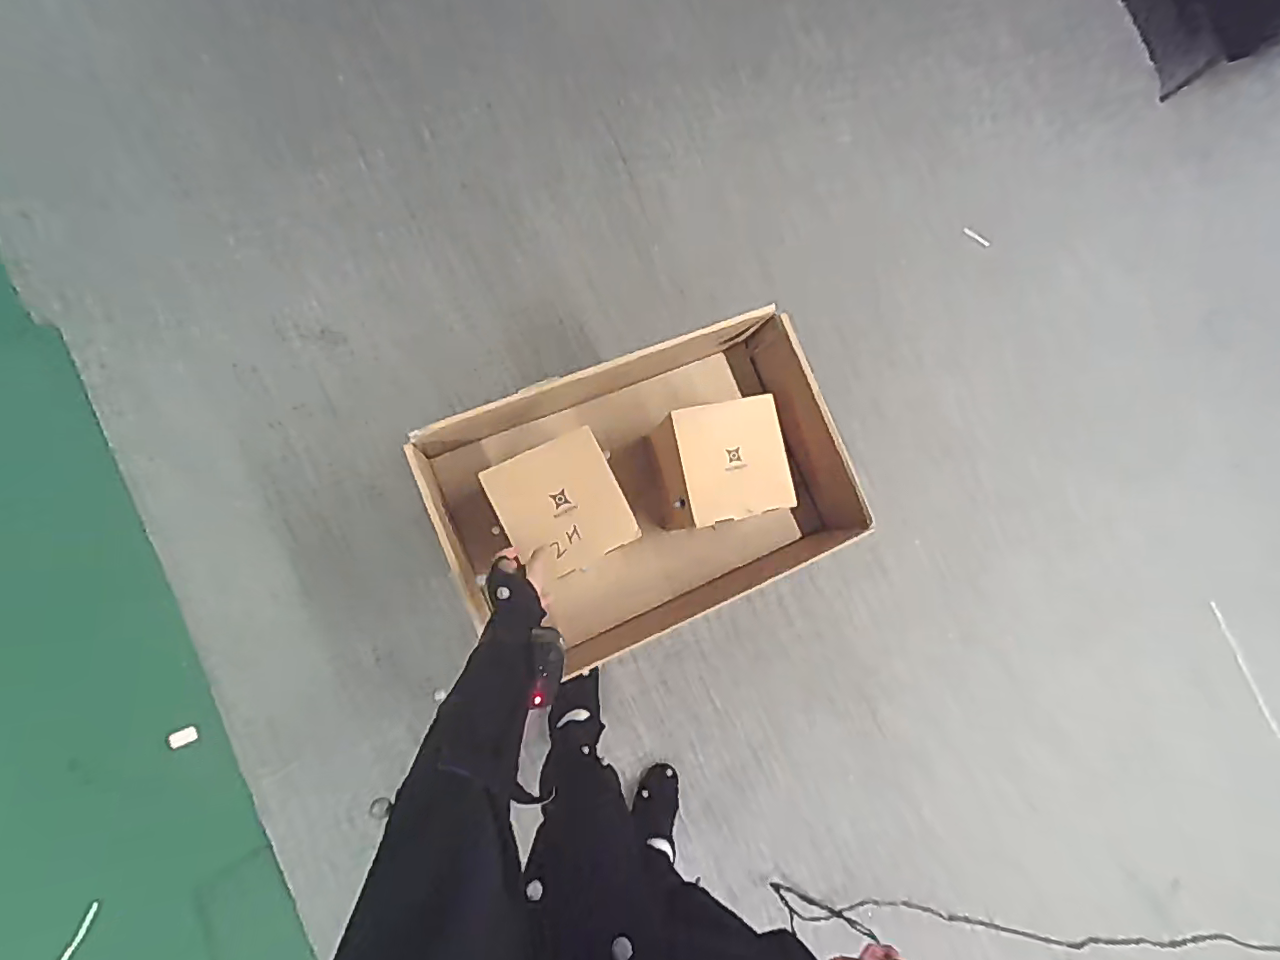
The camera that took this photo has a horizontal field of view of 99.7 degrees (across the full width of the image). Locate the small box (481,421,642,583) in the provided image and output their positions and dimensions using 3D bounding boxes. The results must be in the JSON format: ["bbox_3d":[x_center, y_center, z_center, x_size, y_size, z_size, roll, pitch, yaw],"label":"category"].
[{"bbox_3d":[-0.120,0.037,0.802,0.168,0.176,0.179,-25,89,-14],"label":"small box"}]
